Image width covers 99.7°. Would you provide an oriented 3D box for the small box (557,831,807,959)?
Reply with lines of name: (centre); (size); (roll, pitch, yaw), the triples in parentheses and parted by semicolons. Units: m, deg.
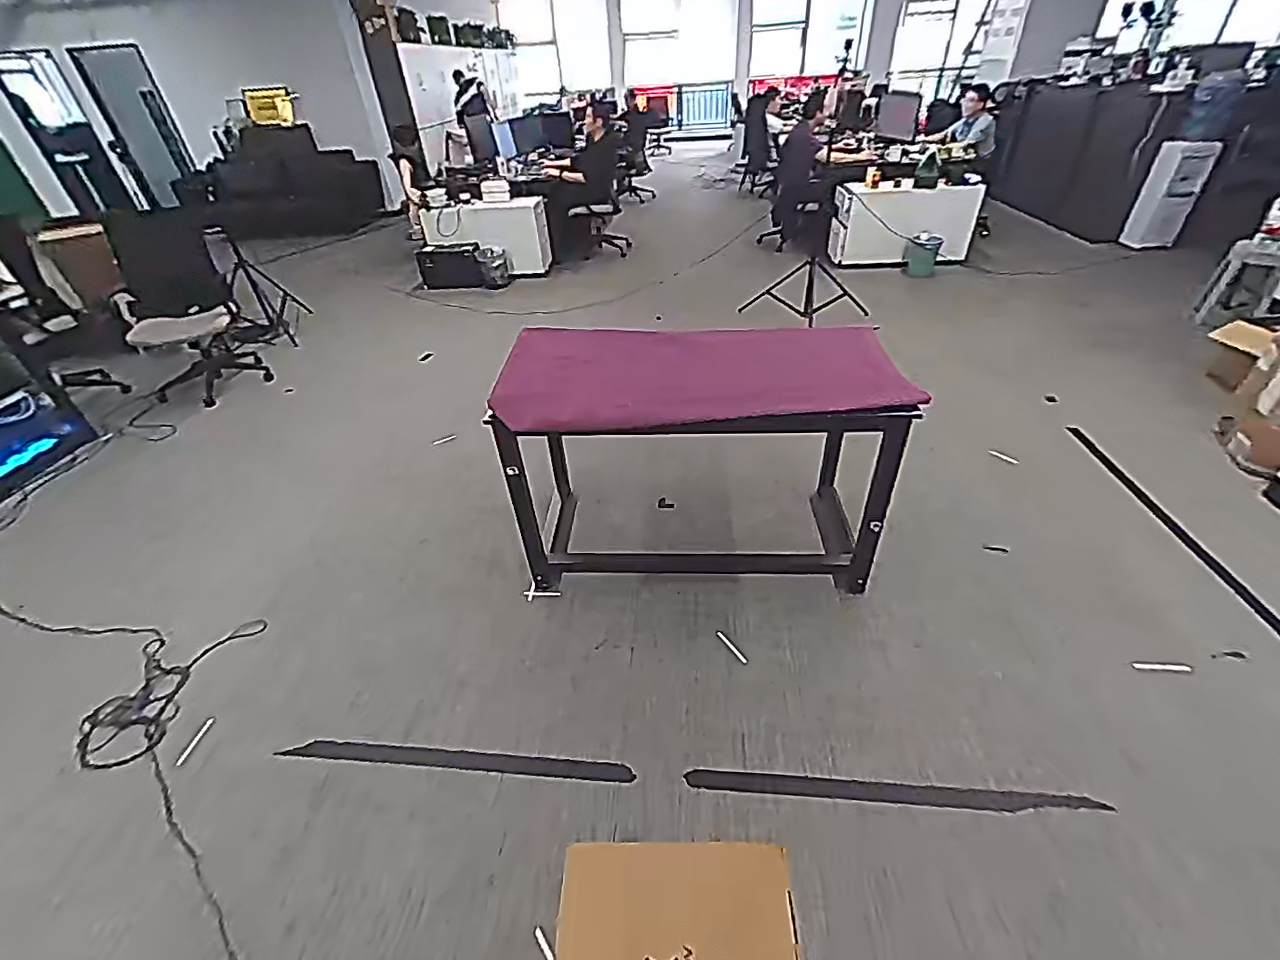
small box: (0.038, 0.392, 0.421); (0.179, 0.176, 0.168); (-4, 43, 6)
